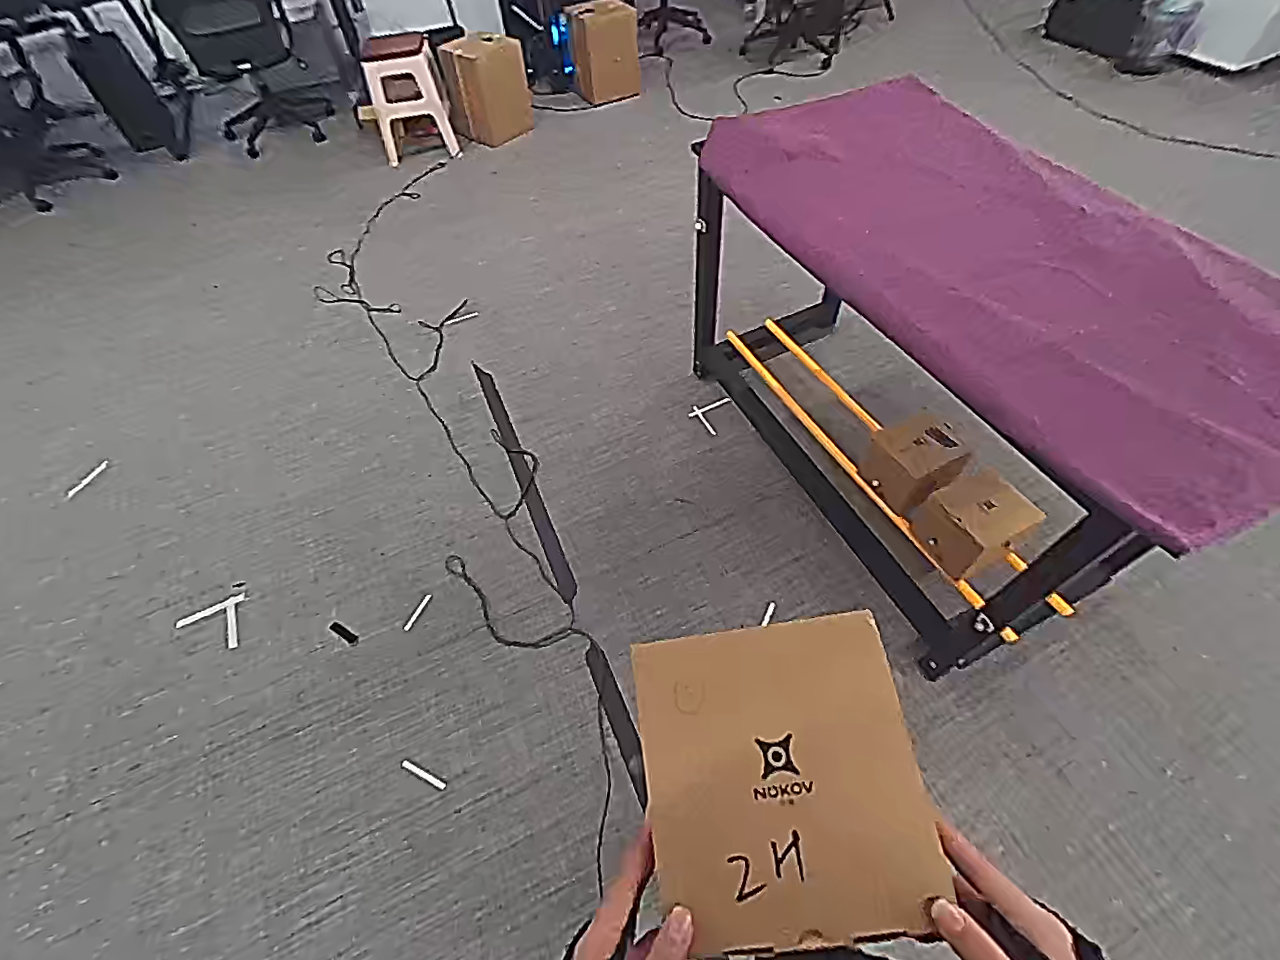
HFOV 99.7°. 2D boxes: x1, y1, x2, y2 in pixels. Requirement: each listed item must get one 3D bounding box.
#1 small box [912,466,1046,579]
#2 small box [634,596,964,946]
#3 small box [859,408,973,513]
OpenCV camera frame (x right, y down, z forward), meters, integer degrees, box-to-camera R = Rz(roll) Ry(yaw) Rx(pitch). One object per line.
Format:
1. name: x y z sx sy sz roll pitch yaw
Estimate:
1. small box: 0.780 0.103 1.266 0.179 0.176 0.168 -24 55 -11
2. small box: 0.094 0.198 0.401 0.168 0.176 0.179 -10 67 4
3. small box: 0.694 -0.046 1.382 0.179 0.176 0.168 -25 55 -10
